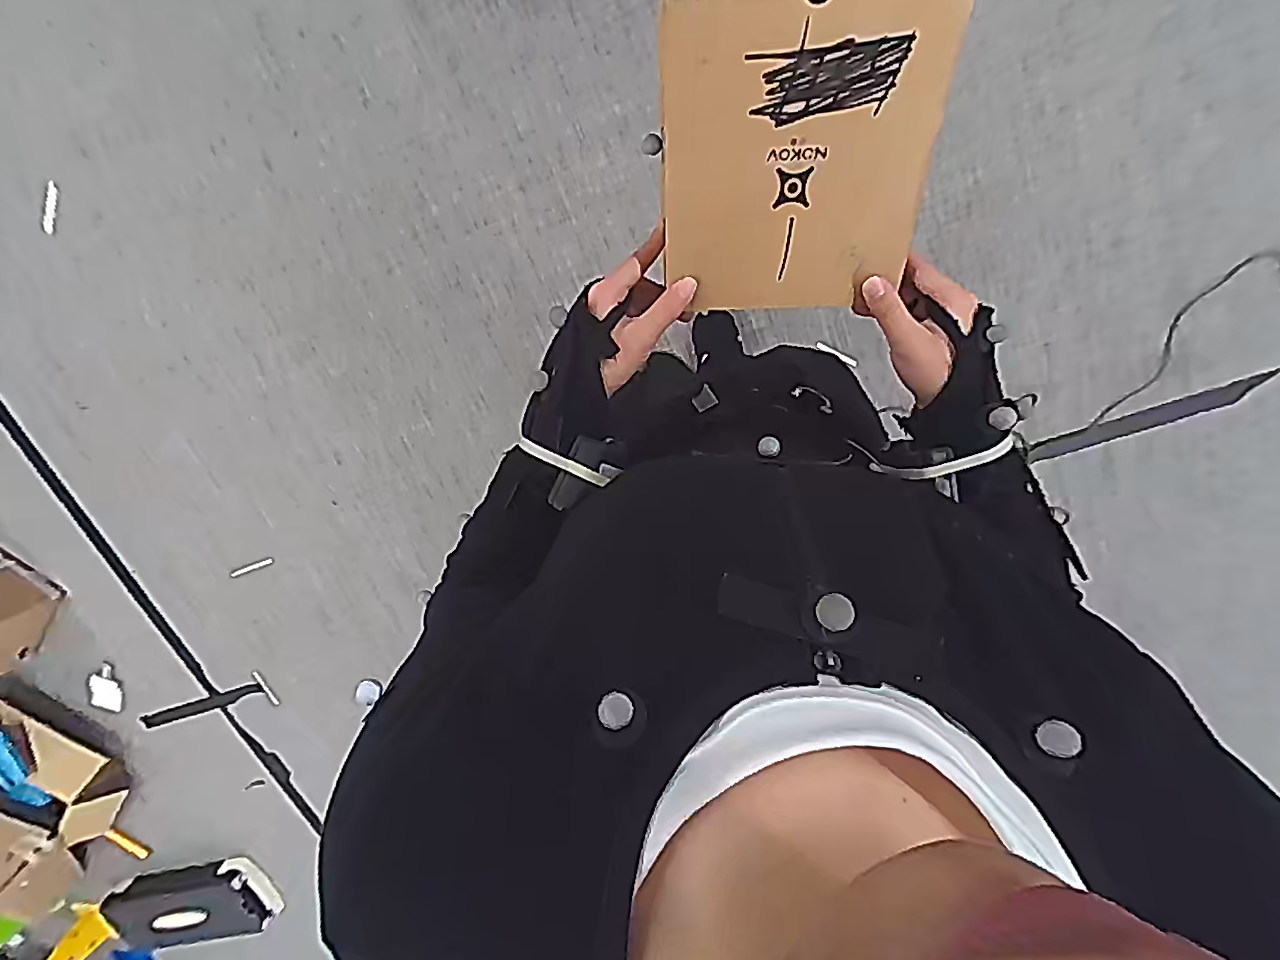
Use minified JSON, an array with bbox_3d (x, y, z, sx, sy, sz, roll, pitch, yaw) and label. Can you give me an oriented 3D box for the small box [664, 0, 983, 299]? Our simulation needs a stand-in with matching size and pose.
[{"bbox_3d":[0.102,-0.247,0.393,0.168,0.176,0.179,-1,129,2],"label":"small box"}]
